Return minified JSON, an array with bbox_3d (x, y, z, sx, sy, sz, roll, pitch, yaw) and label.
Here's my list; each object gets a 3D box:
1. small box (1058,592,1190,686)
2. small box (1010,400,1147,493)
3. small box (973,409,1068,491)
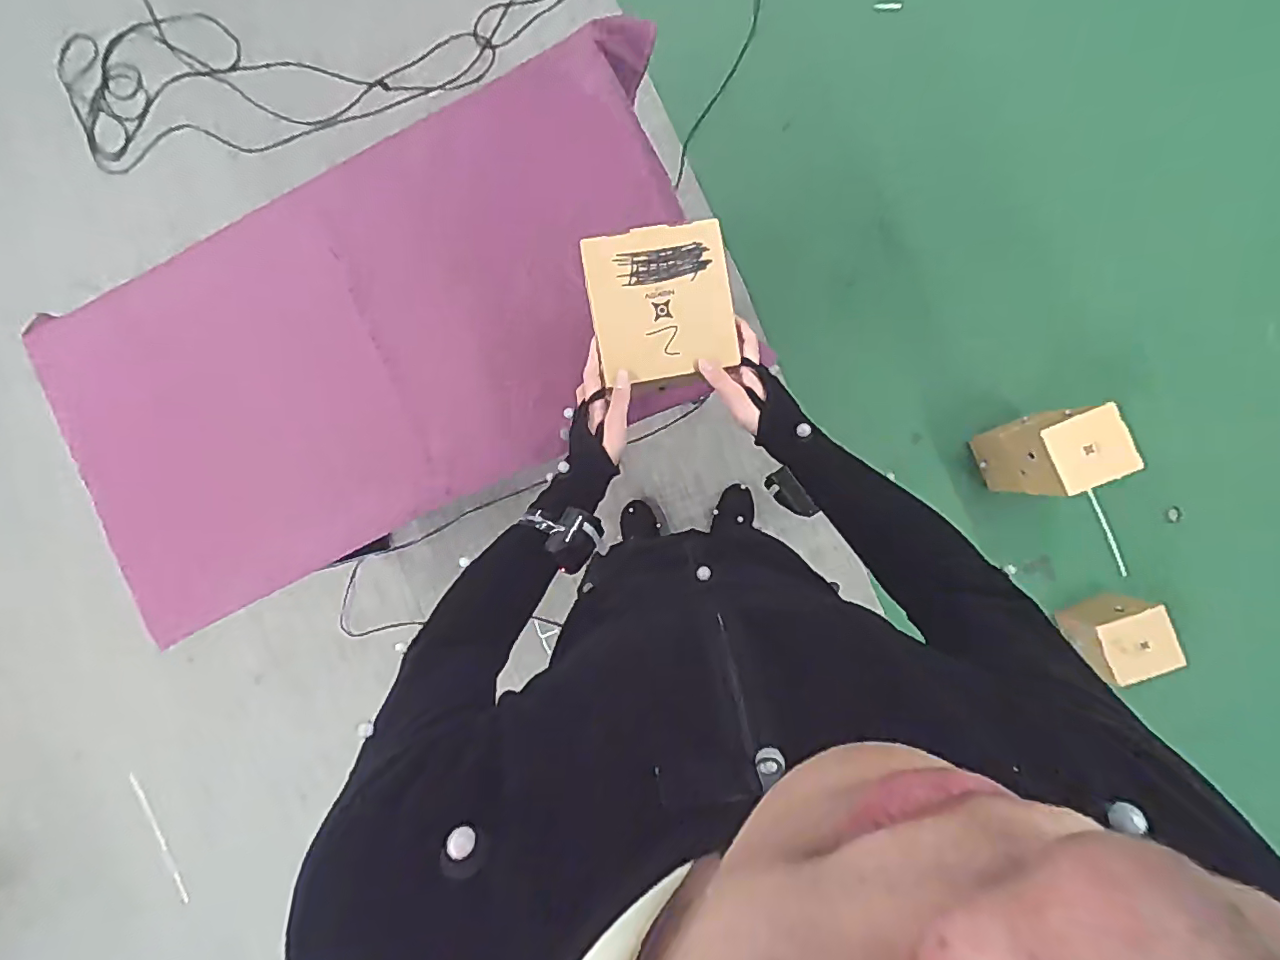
[{"bbox_3d":[1.284,0.416,1.447,0.179,0.176,0.168,-21,89,6],"label":"small box"},{"bbox_3d":[1.035,-0.074,1.300,0.179,0.176,0.168,-23,88,5],"label":"small box"},{"bbox_3d":[1.050,-0.079,1.461,0.179,0.176,0.168,-23,88,6],"label":"small box"}]
